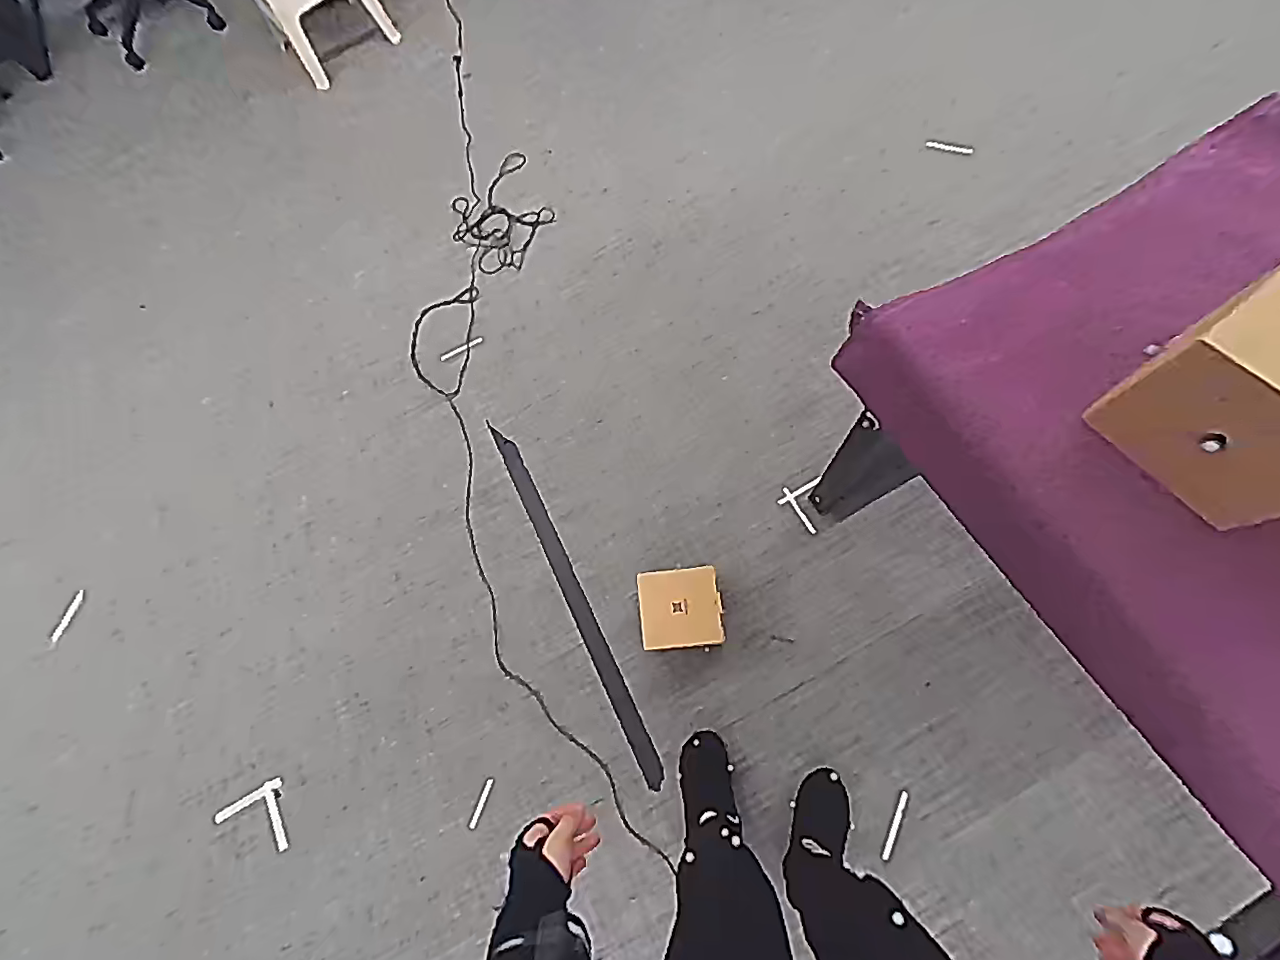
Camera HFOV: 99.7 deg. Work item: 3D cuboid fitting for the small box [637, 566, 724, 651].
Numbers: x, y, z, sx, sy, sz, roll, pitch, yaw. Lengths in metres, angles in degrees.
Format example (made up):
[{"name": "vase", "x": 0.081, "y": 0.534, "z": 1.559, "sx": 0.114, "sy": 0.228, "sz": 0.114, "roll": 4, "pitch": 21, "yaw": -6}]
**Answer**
[{"name": "small box", "x": 0.096, "y": 0.300, "z": 1.243, "sx": 0.179, "sy": 0.176, "sz": 0.168, "roll": -8, "pitch": 72, "yaw": 4}]
